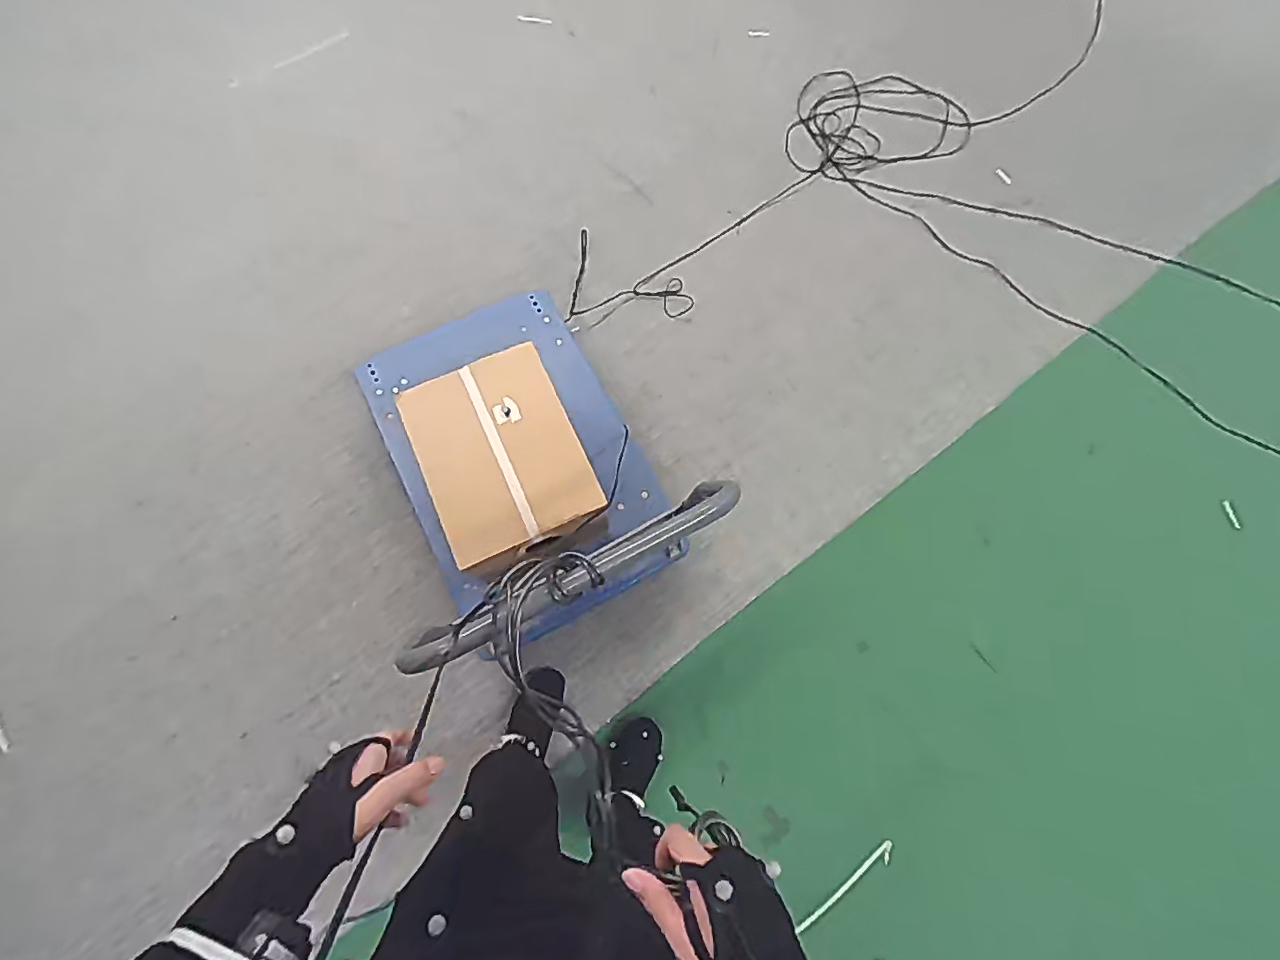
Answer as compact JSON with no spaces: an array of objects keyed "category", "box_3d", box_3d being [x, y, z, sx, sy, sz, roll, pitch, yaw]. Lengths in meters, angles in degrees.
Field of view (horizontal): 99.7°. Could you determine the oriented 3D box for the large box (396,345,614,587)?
[{"category":"large box","box_3d":[-0.281,-0.015,1.223,0.320,0.320,0.408,-24,75,-9]}]
